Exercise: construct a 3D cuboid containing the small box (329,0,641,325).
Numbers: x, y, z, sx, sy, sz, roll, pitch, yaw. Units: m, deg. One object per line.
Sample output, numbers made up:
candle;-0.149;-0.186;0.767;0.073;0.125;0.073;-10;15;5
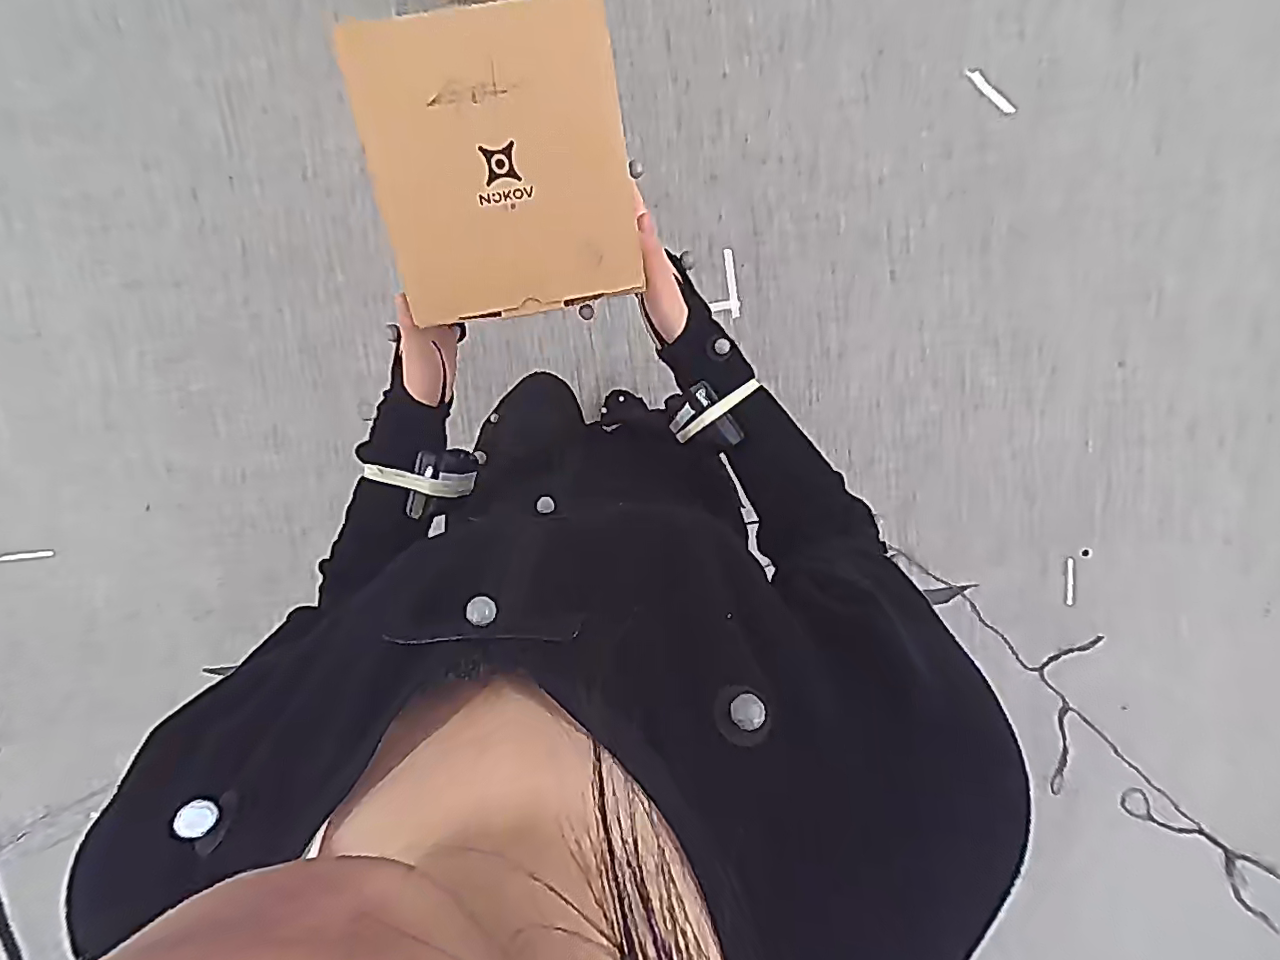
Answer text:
small box;-0.098;-0.228;0.424;0.168;0.176;0.179;-11;109;-2
